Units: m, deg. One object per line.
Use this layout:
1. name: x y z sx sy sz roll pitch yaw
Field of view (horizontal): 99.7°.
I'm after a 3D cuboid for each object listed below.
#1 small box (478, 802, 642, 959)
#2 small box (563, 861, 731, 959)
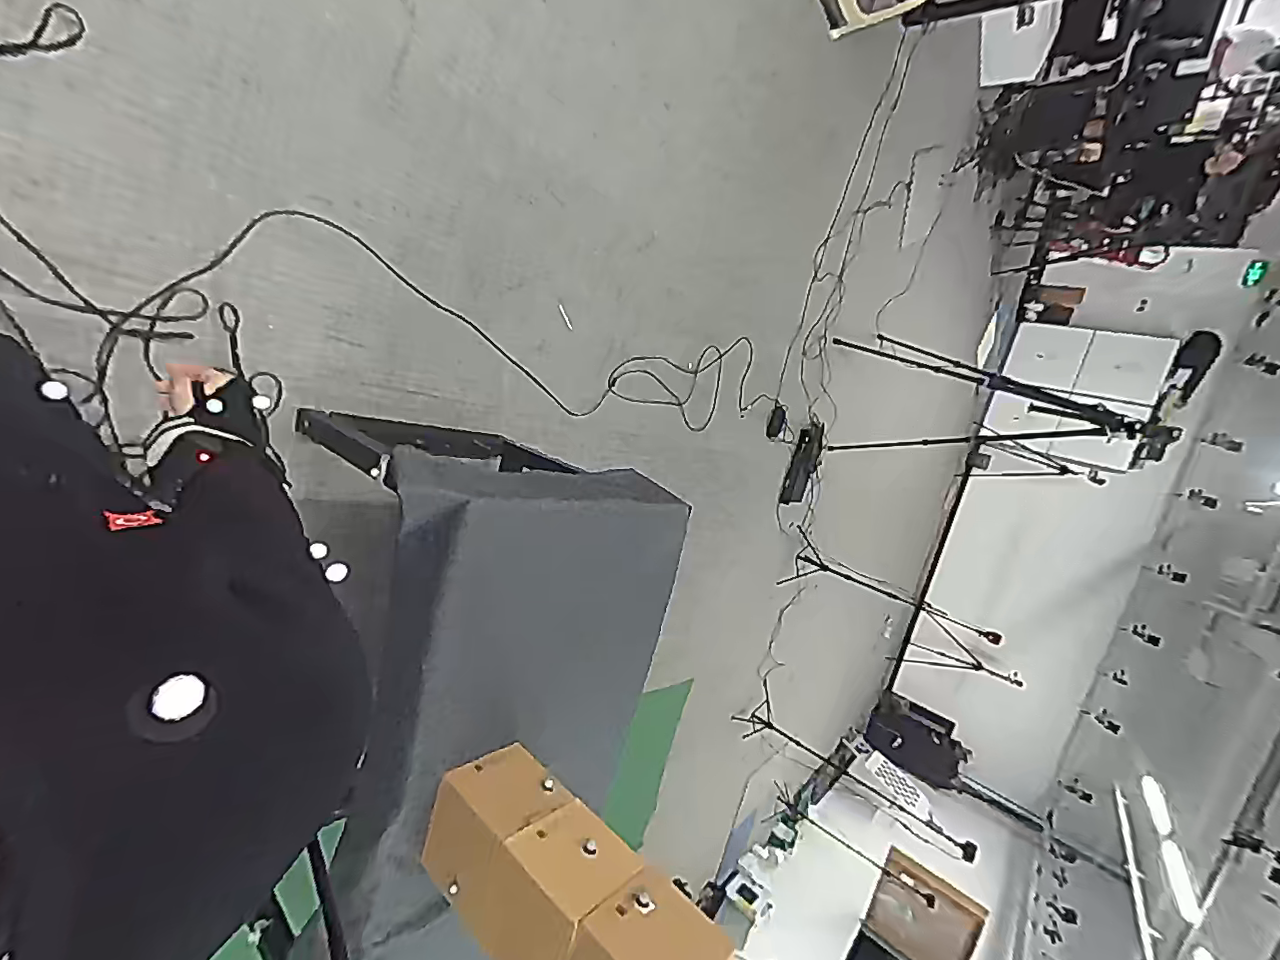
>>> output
1. small box: -0.129 0.647 0.848 0.168 0.176 0.179 6 104 -53
2. small box: -0.004 0.696 0.757 0.168 0.176 0.179 6 103 -55
